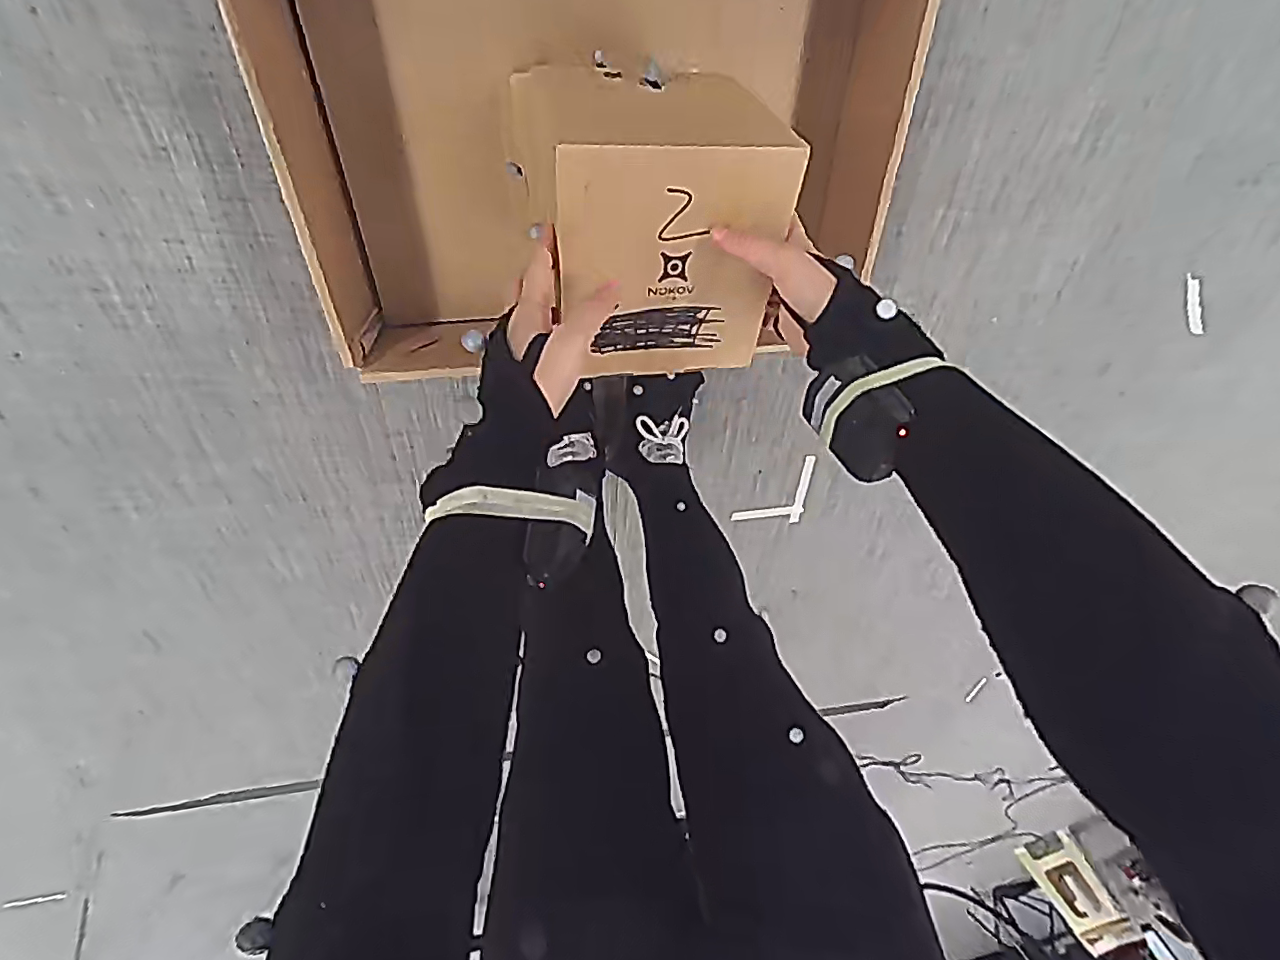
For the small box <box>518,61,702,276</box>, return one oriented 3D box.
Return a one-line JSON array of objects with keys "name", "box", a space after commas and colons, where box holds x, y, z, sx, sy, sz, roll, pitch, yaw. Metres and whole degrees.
[{"name": "small box", "box": [-0.038, -0.336, 0.580, 0.168, 0.176, 0.179, -7, 128, -7]}]
